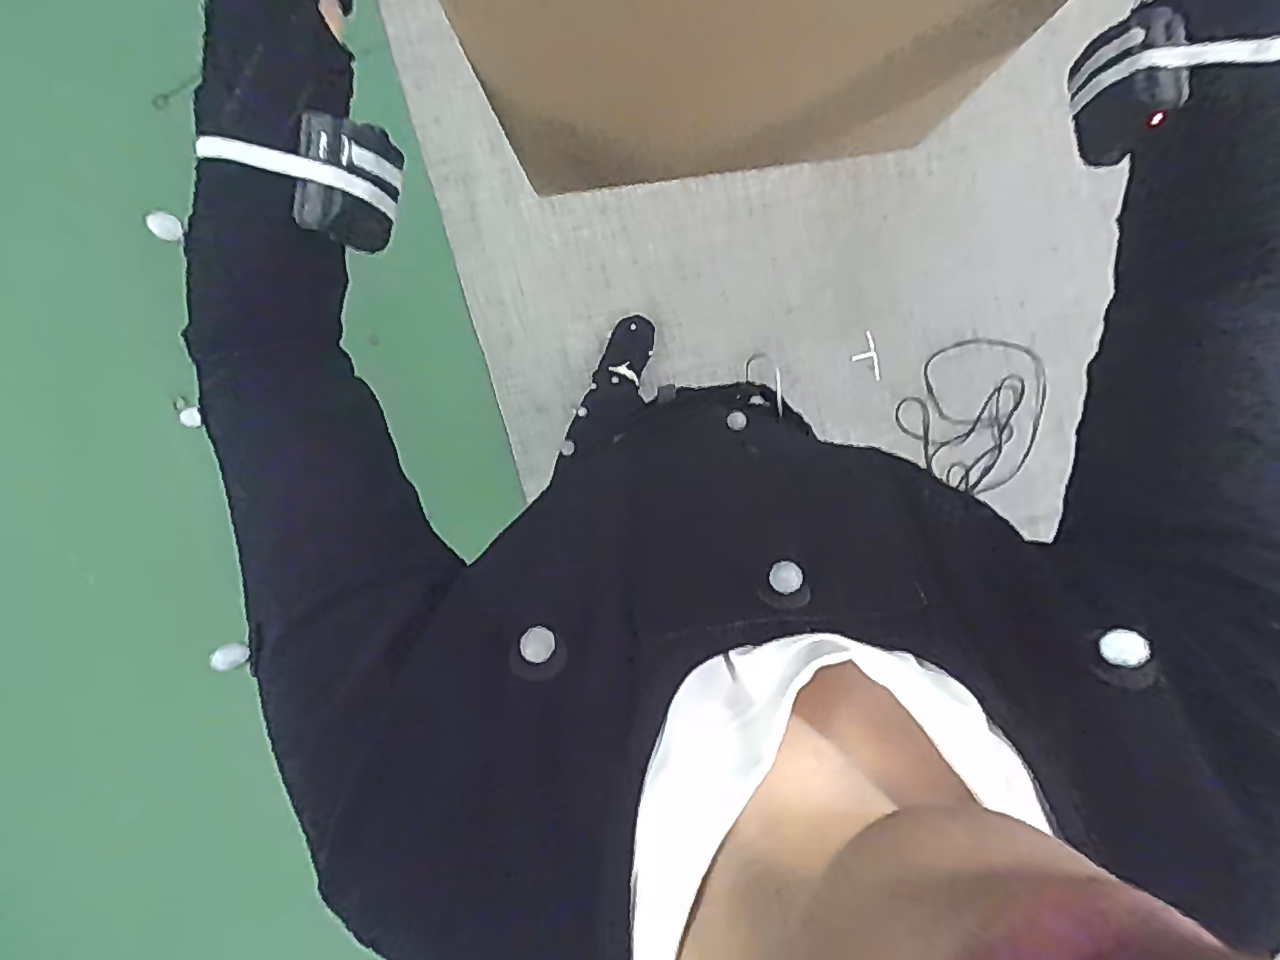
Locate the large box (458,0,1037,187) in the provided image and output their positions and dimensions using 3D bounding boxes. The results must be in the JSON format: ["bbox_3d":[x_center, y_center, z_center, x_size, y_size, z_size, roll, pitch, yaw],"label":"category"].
[{"bbox_3d":[0.067,-0.462,0.401,0.408,0.320,0.320,-7,98,1],"label":"large box"}]
